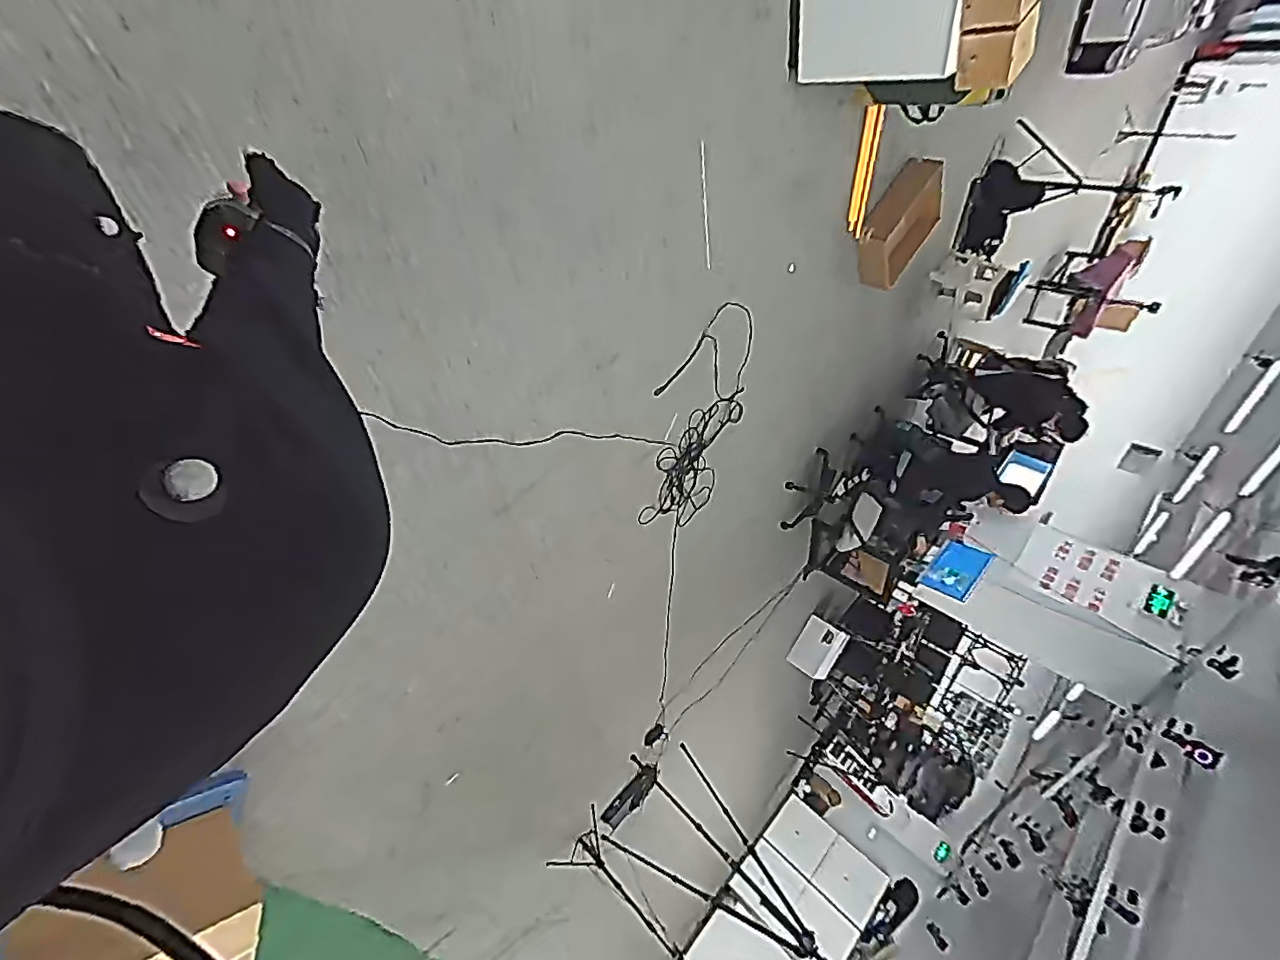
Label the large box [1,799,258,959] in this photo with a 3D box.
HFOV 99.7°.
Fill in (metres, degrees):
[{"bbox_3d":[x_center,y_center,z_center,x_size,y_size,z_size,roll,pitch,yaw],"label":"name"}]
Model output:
[{"bbox_3d":[-1.190,1.059,1.273,0.408,0.320,0.320,0,116,-50],"label":"large box"}]
